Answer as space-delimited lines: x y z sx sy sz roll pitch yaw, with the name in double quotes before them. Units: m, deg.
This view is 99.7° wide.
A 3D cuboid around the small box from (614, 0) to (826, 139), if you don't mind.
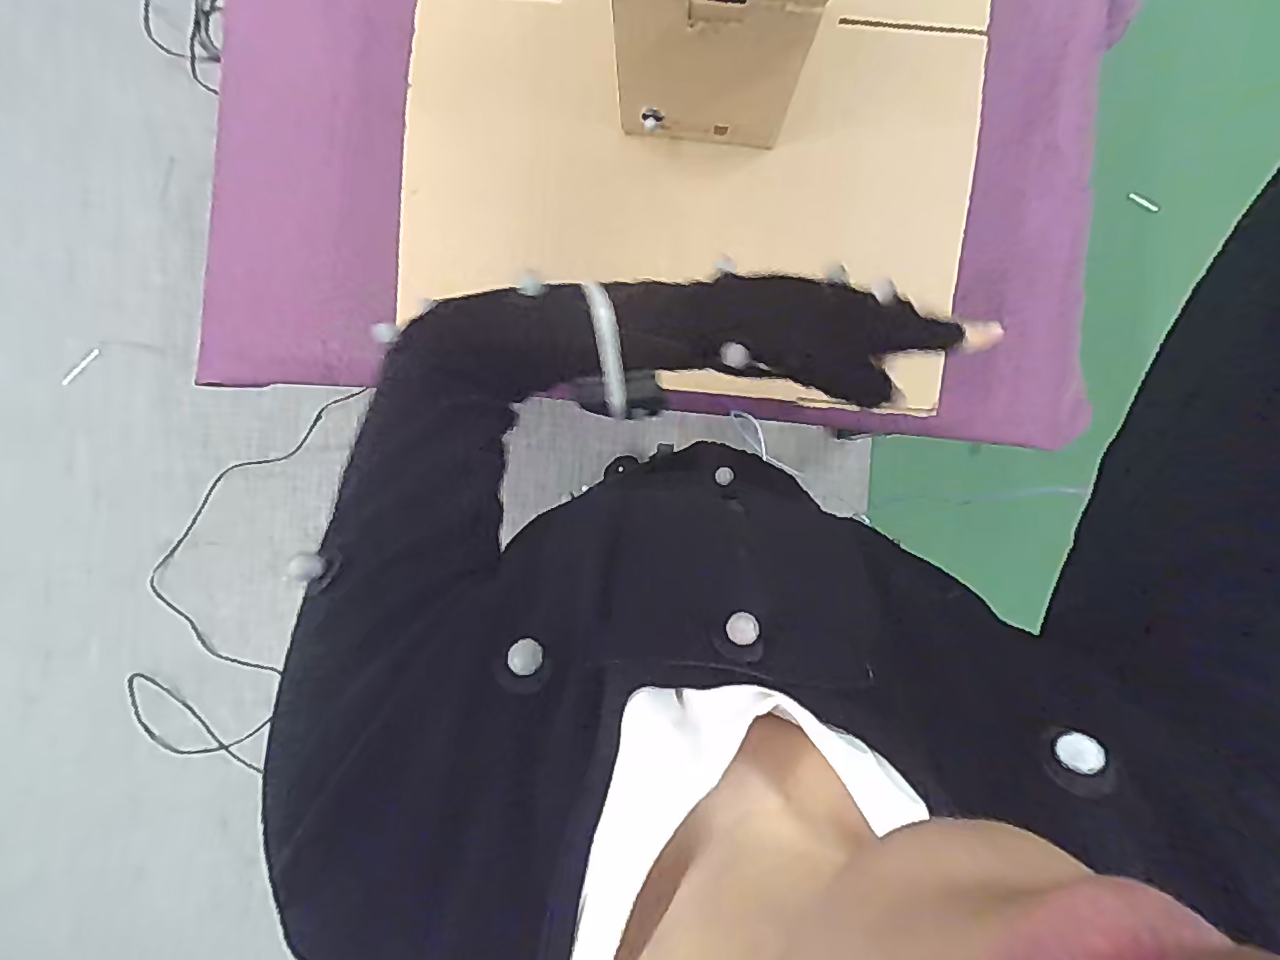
"small box" 0.068 -0.444 0.491 0.168 0.176 0.179 3 91 1
